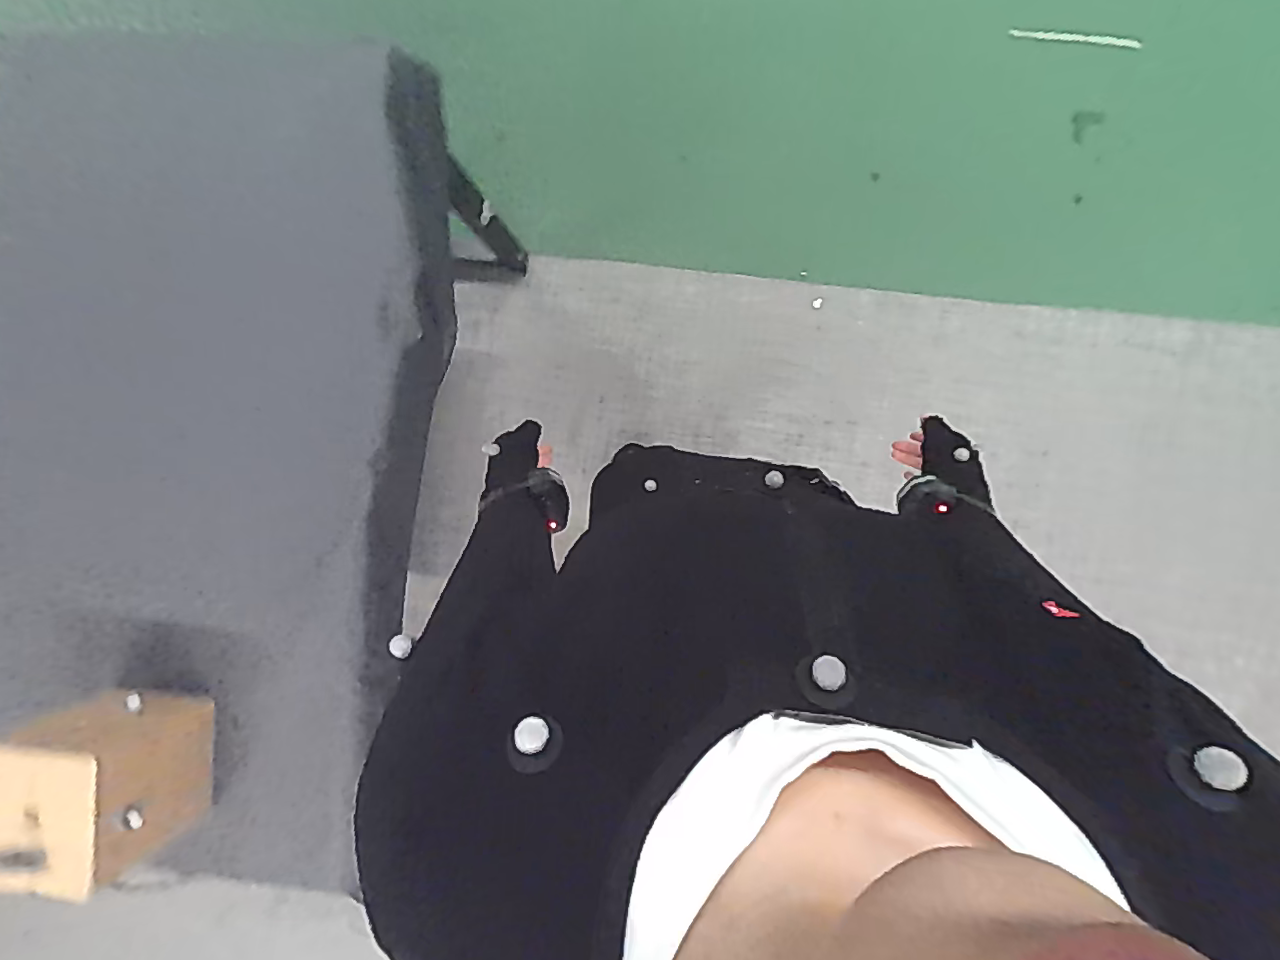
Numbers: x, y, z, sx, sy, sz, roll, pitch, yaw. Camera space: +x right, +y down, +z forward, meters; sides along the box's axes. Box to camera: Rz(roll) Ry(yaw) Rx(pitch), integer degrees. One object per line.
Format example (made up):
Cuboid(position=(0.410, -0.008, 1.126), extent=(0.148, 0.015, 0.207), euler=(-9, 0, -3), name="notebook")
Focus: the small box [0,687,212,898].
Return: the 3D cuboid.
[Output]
Cuboid(position=(-0.719, 0.403, 0.724), extent=(0.168, 0.176, 0.179), euler=(4, 91, 3), name="small box")
